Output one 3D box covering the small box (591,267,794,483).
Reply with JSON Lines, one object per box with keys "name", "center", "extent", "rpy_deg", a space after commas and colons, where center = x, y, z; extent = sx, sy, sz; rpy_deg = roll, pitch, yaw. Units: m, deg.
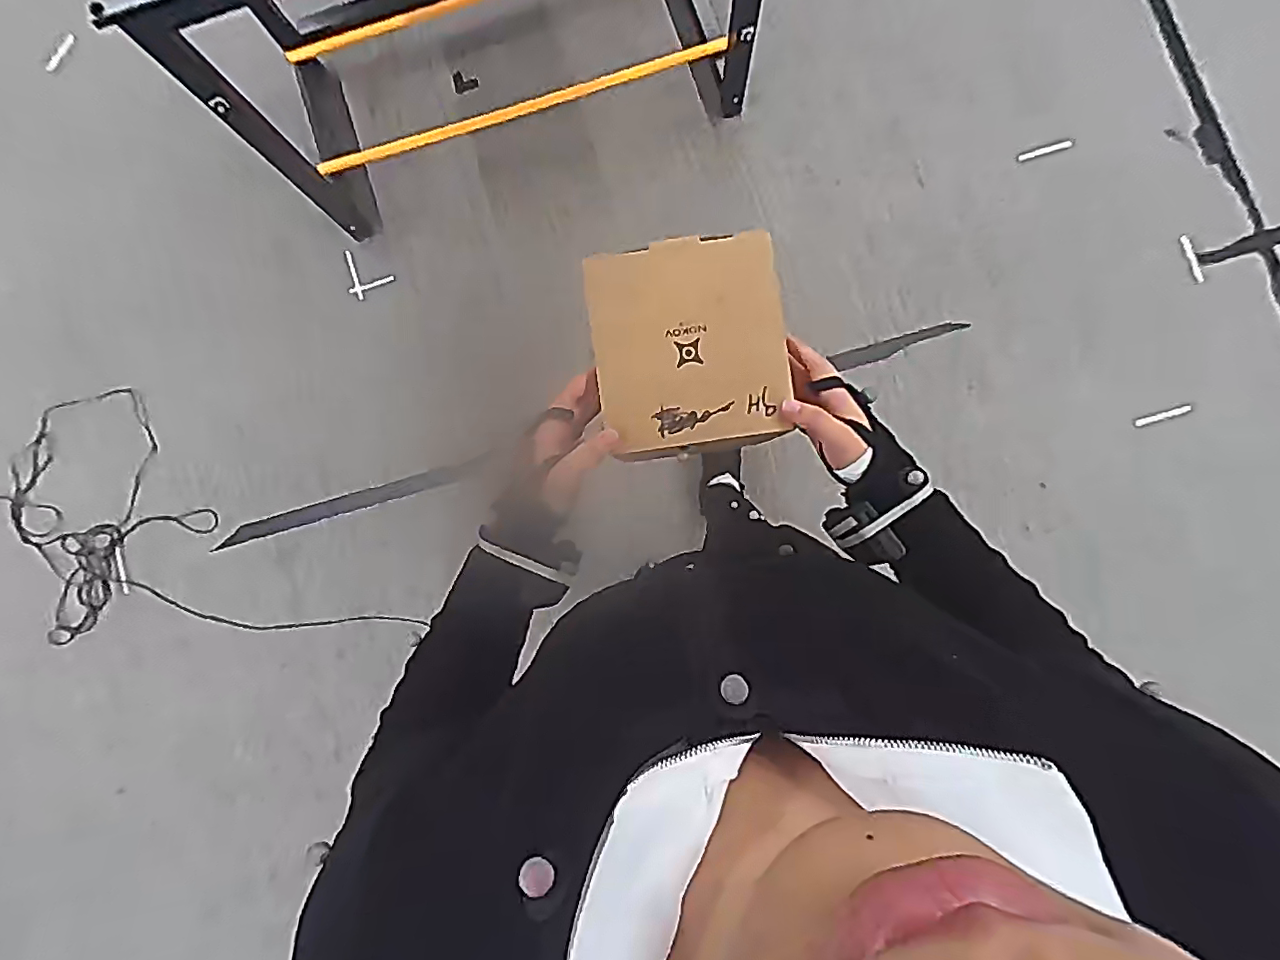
{"name": "small box", "center": [0.048, -0.093, 0.559], "extent": [0.168, 0.176, 0.179], "rpy_deg": [-8, 89, 3]}
